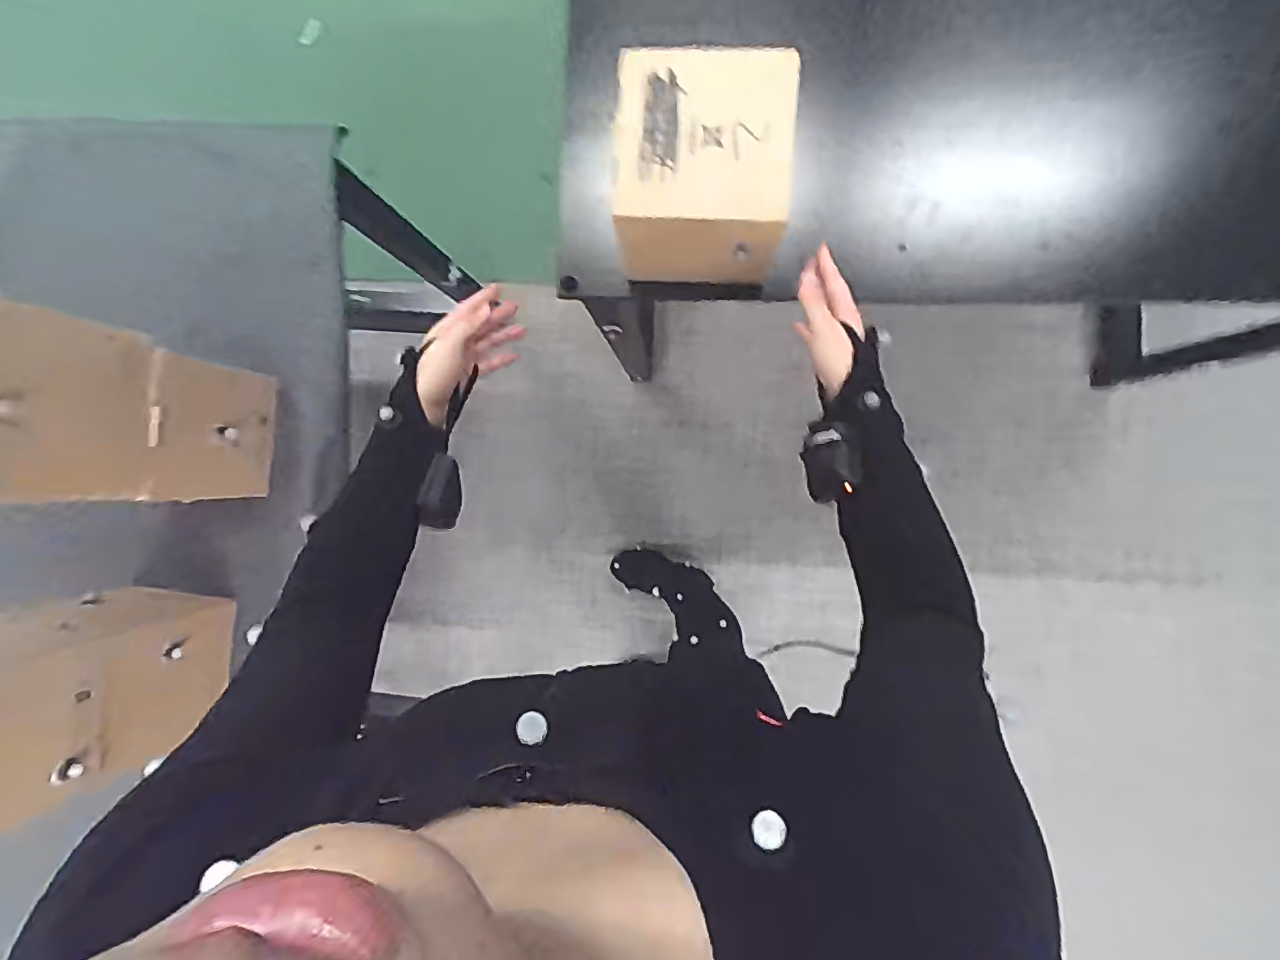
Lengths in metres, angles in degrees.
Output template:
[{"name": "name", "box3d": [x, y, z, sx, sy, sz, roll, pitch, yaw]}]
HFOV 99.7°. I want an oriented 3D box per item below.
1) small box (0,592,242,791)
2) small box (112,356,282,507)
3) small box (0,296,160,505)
[{"name": "small box", "box3d": [-0.644, 0.247, 0.679, 0.168, 0.176, 0.179, 6, 92, 8]}, {"name": "small box", "box3d": [-0.586, -0.063, 0.670, 0.179, 0.176, 0.168, 6, 91, 7]}, {"name": "small box", "box3d": [-0.605, -0.072, 0.509, 0.168, 0.176, 0.179, 4, 91, 7]}]
